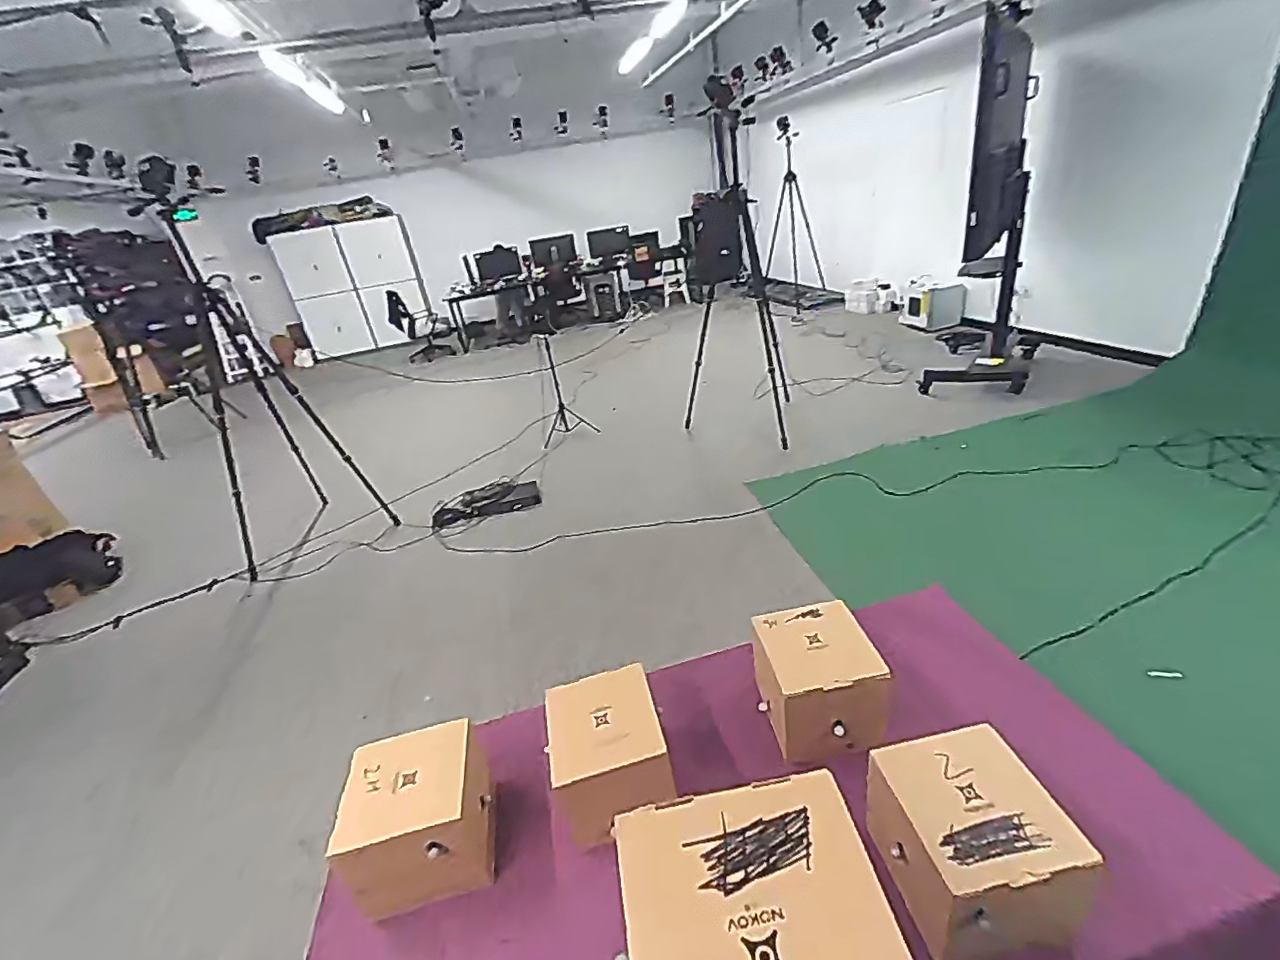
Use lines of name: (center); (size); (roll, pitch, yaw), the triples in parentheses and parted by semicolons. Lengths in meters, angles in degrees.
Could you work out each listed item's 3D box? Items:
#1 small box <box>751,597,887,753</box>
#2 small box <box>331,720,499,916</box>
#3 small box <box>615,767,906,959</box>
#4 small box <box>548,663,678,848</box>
small box: (0.295, 0.331, 0.912); (0.168, 0.176, 0.179); (-12, 28, -1)
small box: (-0.319, 0.503, 0.813); (0.179, 0.176, 0.168); (-14, 27, -6)
small box: (0.081, 0.341, 0.379); (0.168, 0.176, 0.179); (-11, 37, -2)
small box: (-0.044, 0.430, 0.855); (0.168, 0.176, 0.179); (-15, 28, -6)
